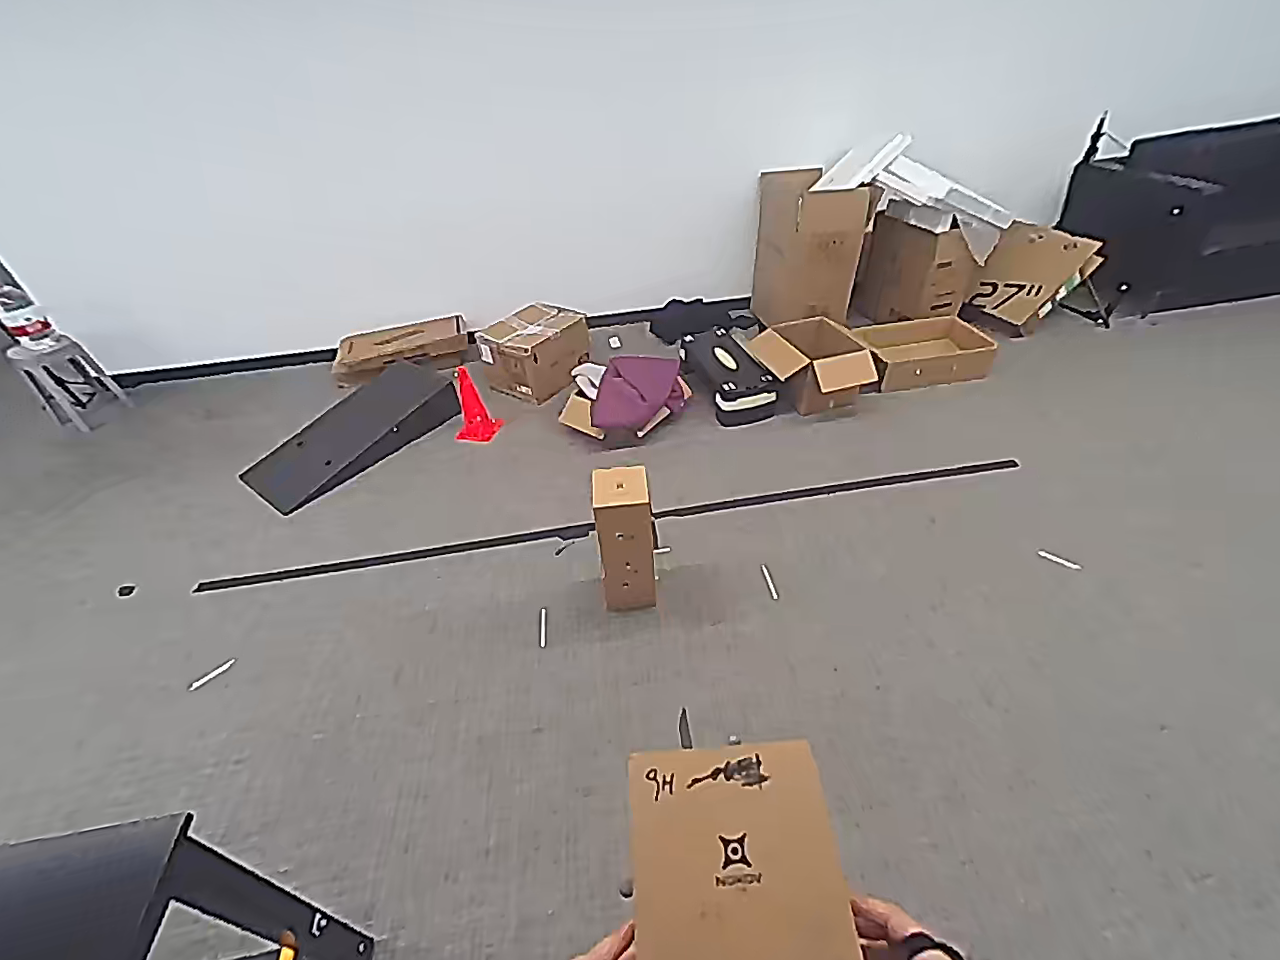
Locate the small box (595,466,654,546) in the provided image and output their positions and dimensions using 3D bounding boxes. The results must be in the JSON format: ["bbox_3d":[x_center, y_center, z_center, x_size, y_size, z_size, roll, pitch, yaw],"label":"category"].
[{"bbox_3d":[-0.049,0.079,1.654,0.168,0.176,0.179,-6,41,0],"label":"small box"}]

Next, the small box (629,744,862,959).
[{"bbox_3d":[0.079,0.355,0.487,0.168,0.176,0.179,-4,51,-1],"label":"small box"}]

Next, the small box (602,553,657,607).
[{"bbox_3d":[-0.036,0.325,1.870,0.179,0.176,0.168,-5,40,-1],"label":"small box"}]

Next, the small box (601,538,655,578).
[{"bbox_3d":[-0.041,0.195,1.769,0.168,0.176,0.179,-6,40,-1],"label":"small box"}]
